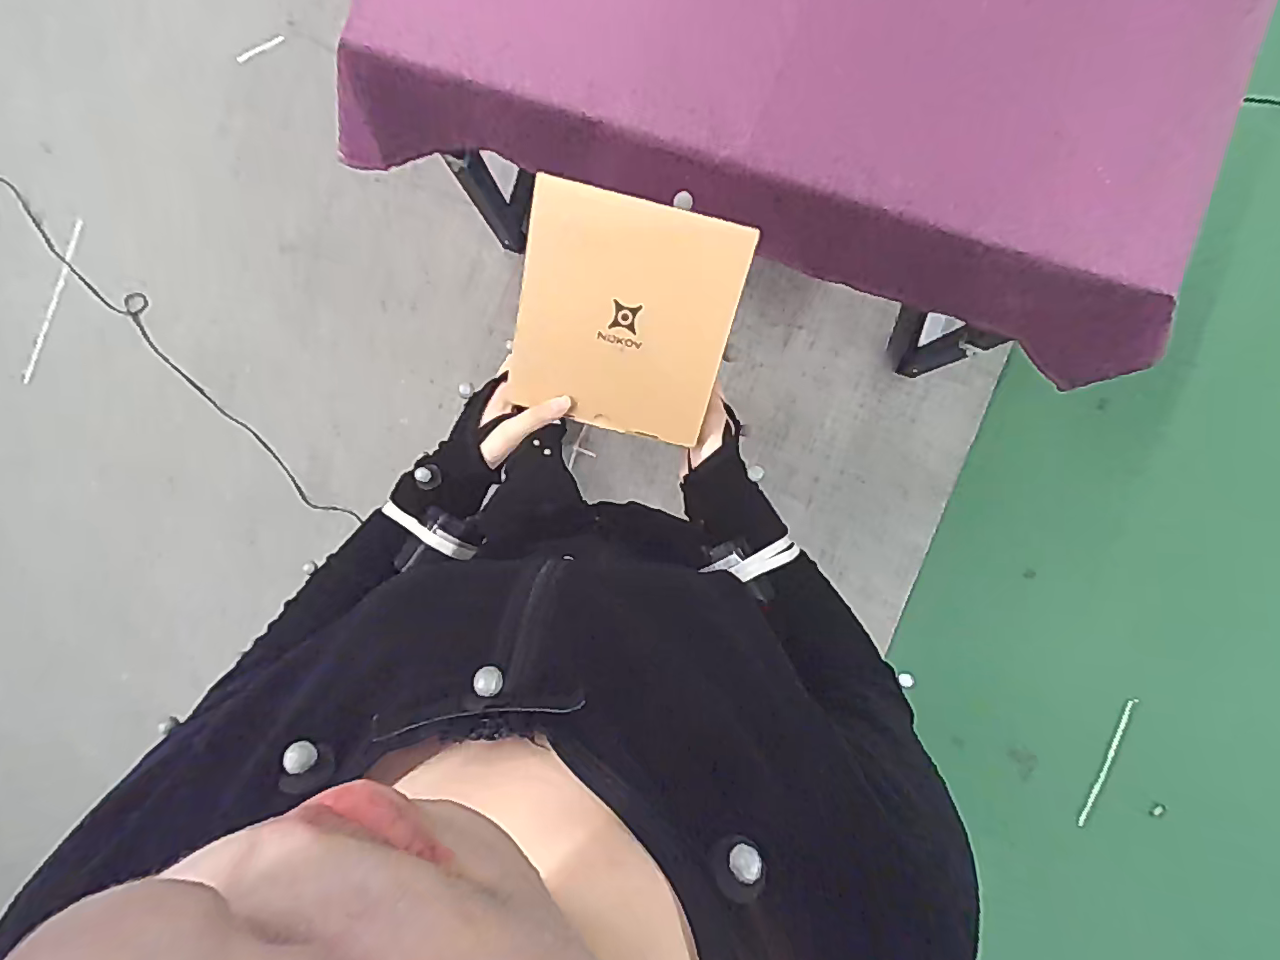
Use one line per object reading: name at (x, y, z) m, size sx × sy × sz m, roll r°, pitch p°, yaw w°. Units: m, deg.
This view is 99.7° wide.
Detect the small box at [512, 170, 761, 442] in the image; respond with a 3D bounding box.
small box at (-0.006, -0.160, 0.493) m, size 0.168 × 0.176 × 0.179 m, roll 13°, pitch 116°, yaw -2°
